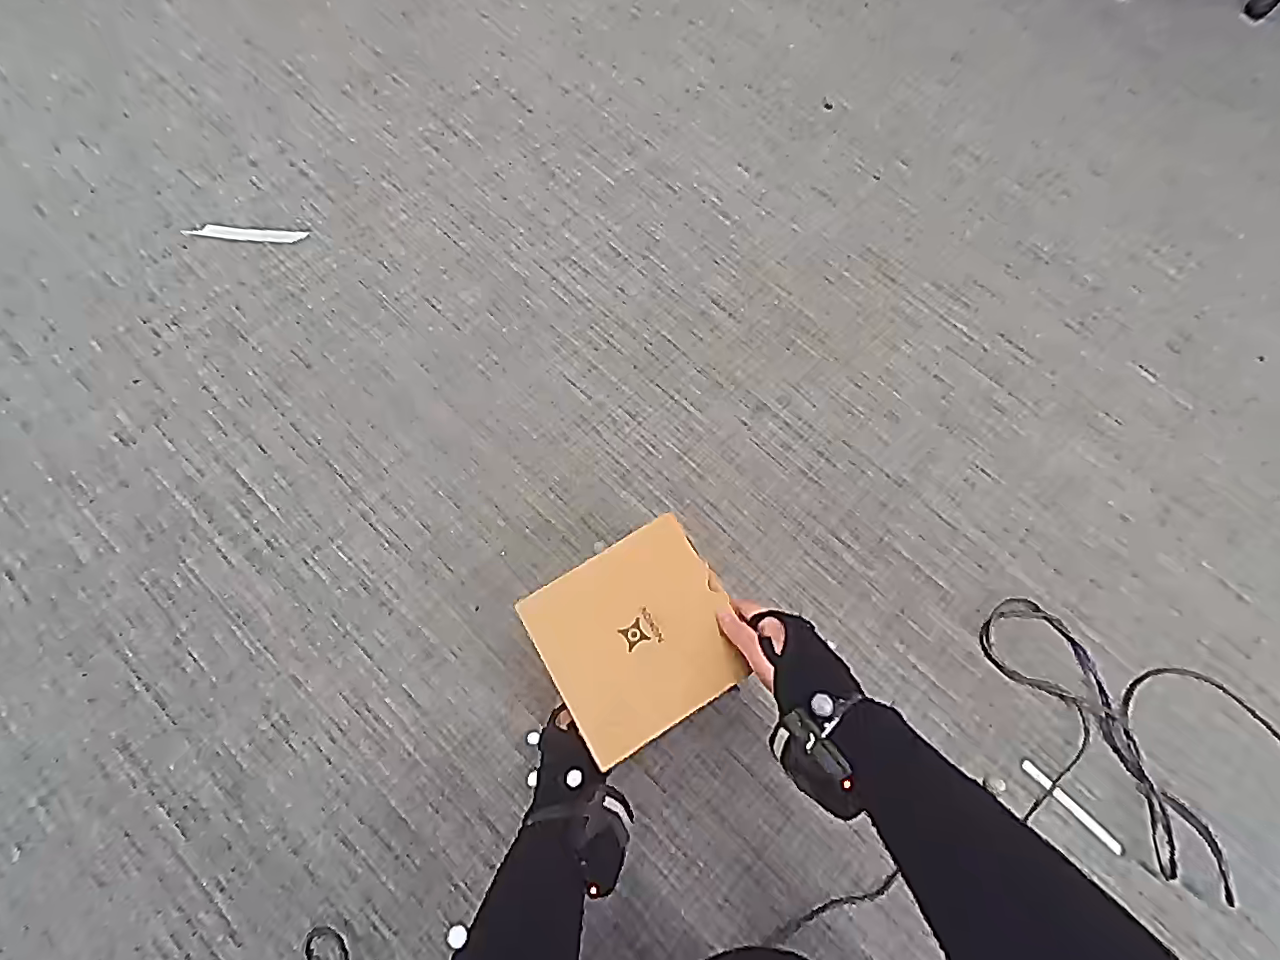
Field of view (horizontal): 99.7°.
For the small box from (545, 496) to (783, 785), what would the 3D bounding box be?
[{"bbox_3d":[0.018,0.150,0.526,0.168,0.176,0.179,-26,55,-25],"label":"small box"}]
